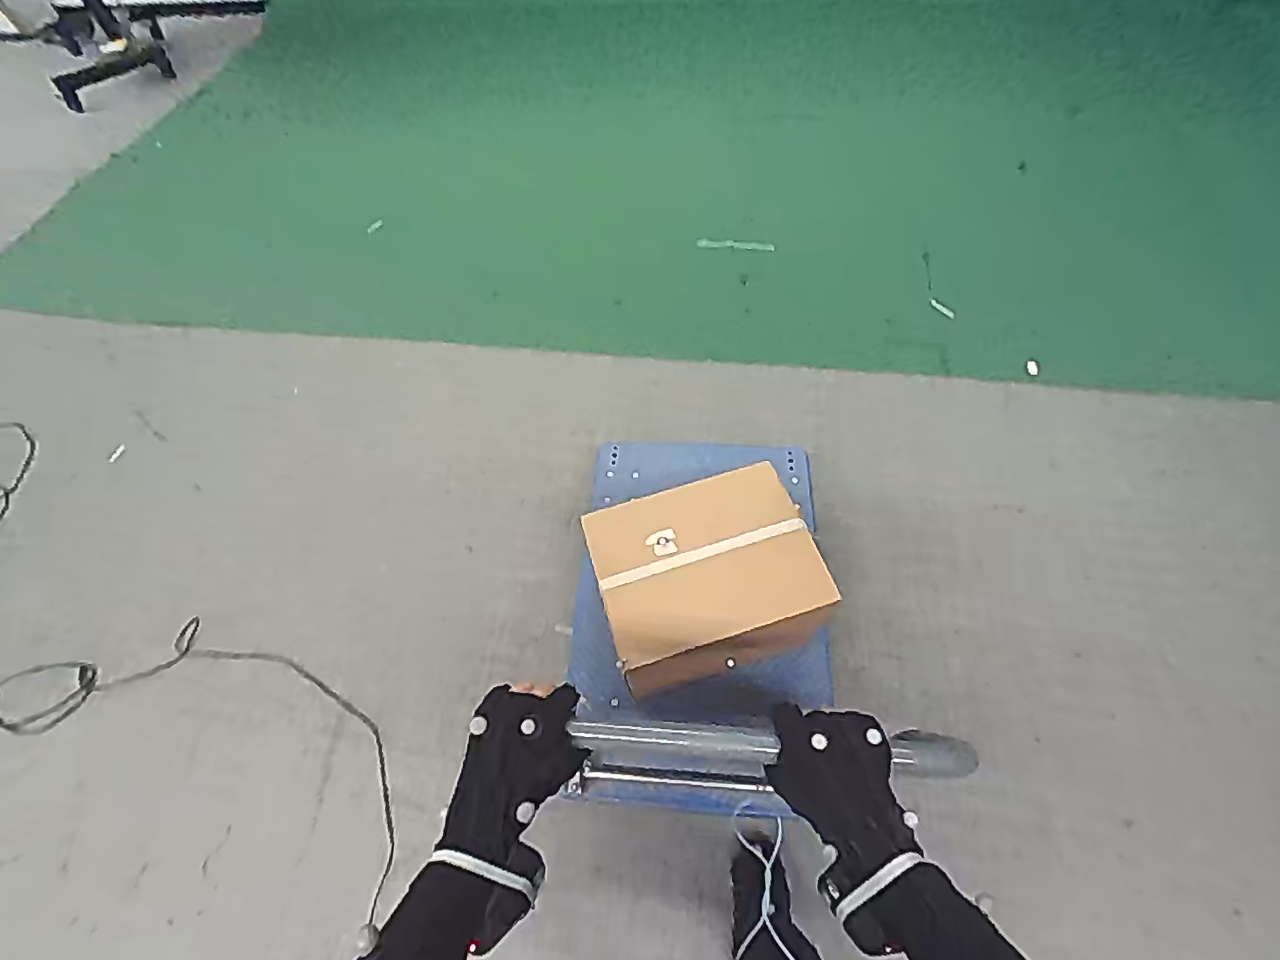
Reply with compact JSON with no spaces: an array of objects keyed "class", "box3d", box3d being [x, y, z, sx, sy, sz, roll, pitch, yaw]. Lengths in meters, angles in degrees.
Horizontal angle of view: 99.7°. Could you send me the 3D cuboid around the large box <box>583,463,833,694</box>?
[{"class":"large box","box3d":[0.129,0.219,1.153,0.408,0.320,0.320,-17,59,-5]}]
